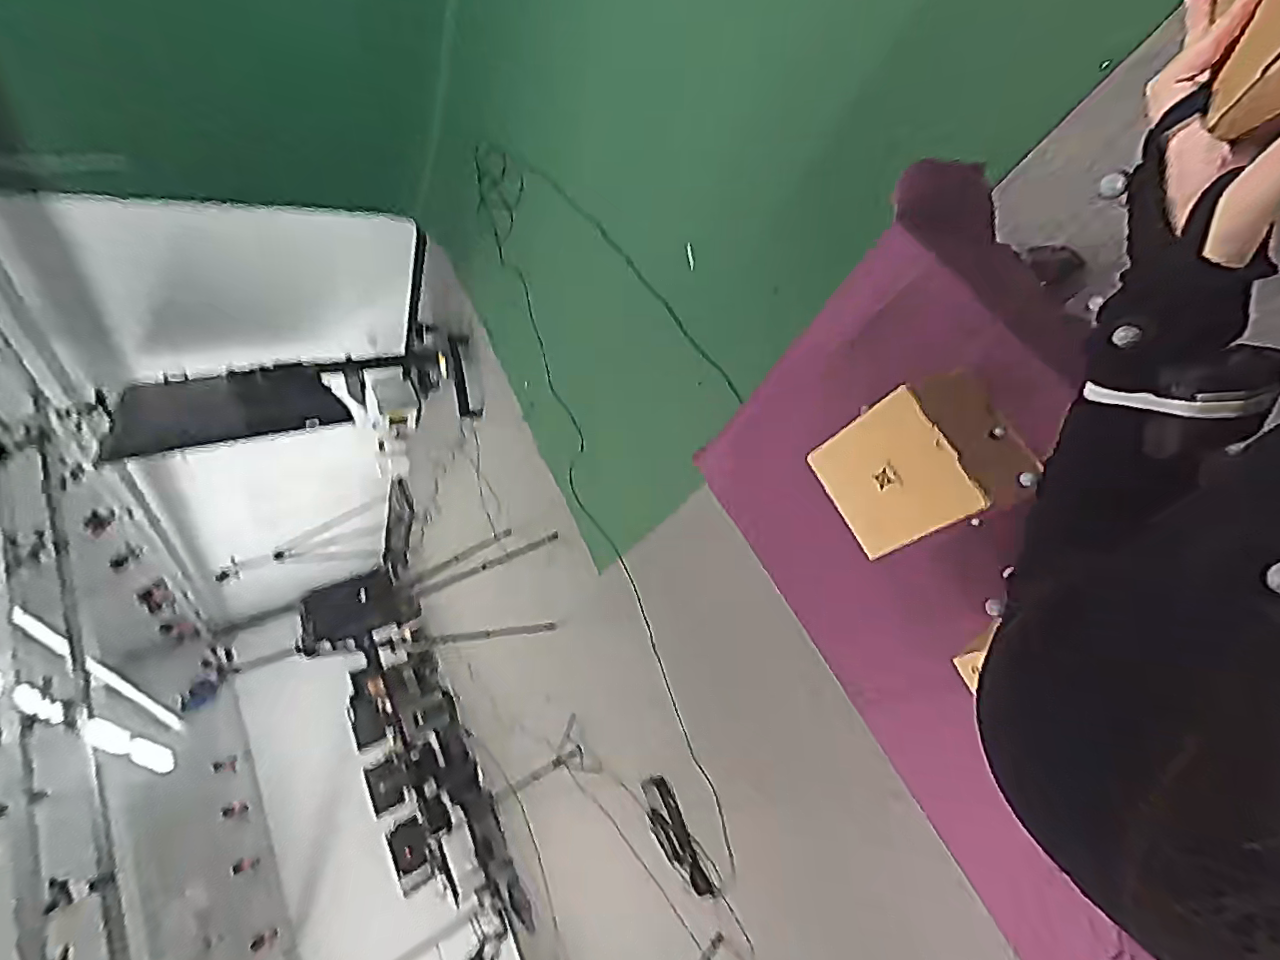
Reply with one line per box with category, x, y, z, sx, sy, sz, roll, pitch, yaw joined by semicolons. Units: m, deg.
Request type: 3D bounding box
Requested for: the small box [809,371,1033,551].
small box;0.375;-0.028;0.730;0.168;0.176;0.179;63;143;16
